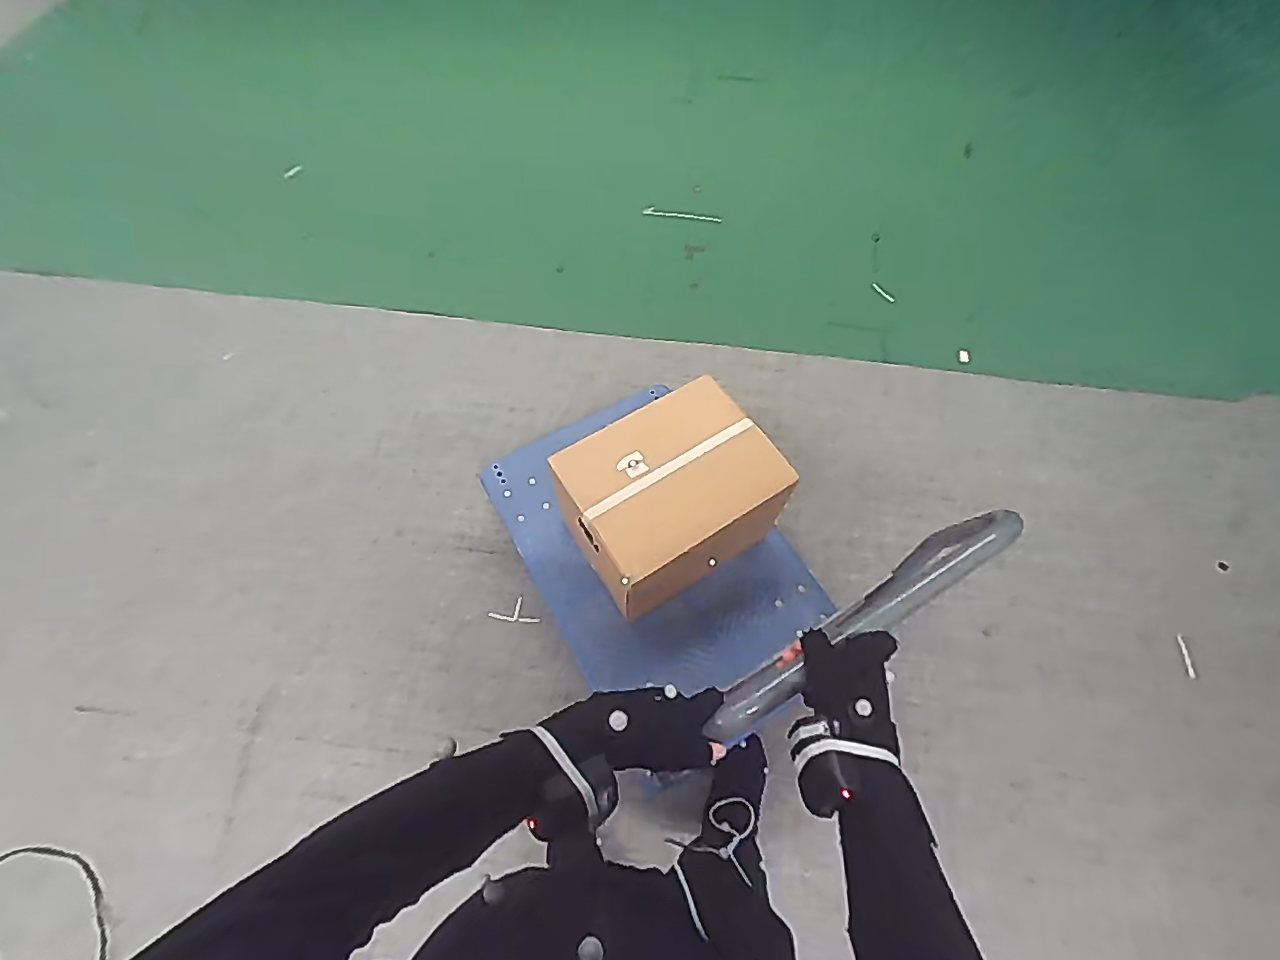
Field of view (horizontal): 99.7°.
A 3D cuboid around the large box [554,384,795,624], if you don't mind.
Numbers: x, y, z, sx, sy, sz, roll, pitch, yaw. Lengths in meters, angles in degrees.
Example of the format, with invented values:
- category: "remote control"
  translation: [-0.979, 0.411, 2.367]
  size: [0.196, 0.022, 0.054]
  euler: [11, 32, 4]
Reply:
- category: "large box"
  translation: [0.069, 0.062, 1.225]
  size: [0.408, 0.320, 0.320]
  euler: [-31, 67, -15]
